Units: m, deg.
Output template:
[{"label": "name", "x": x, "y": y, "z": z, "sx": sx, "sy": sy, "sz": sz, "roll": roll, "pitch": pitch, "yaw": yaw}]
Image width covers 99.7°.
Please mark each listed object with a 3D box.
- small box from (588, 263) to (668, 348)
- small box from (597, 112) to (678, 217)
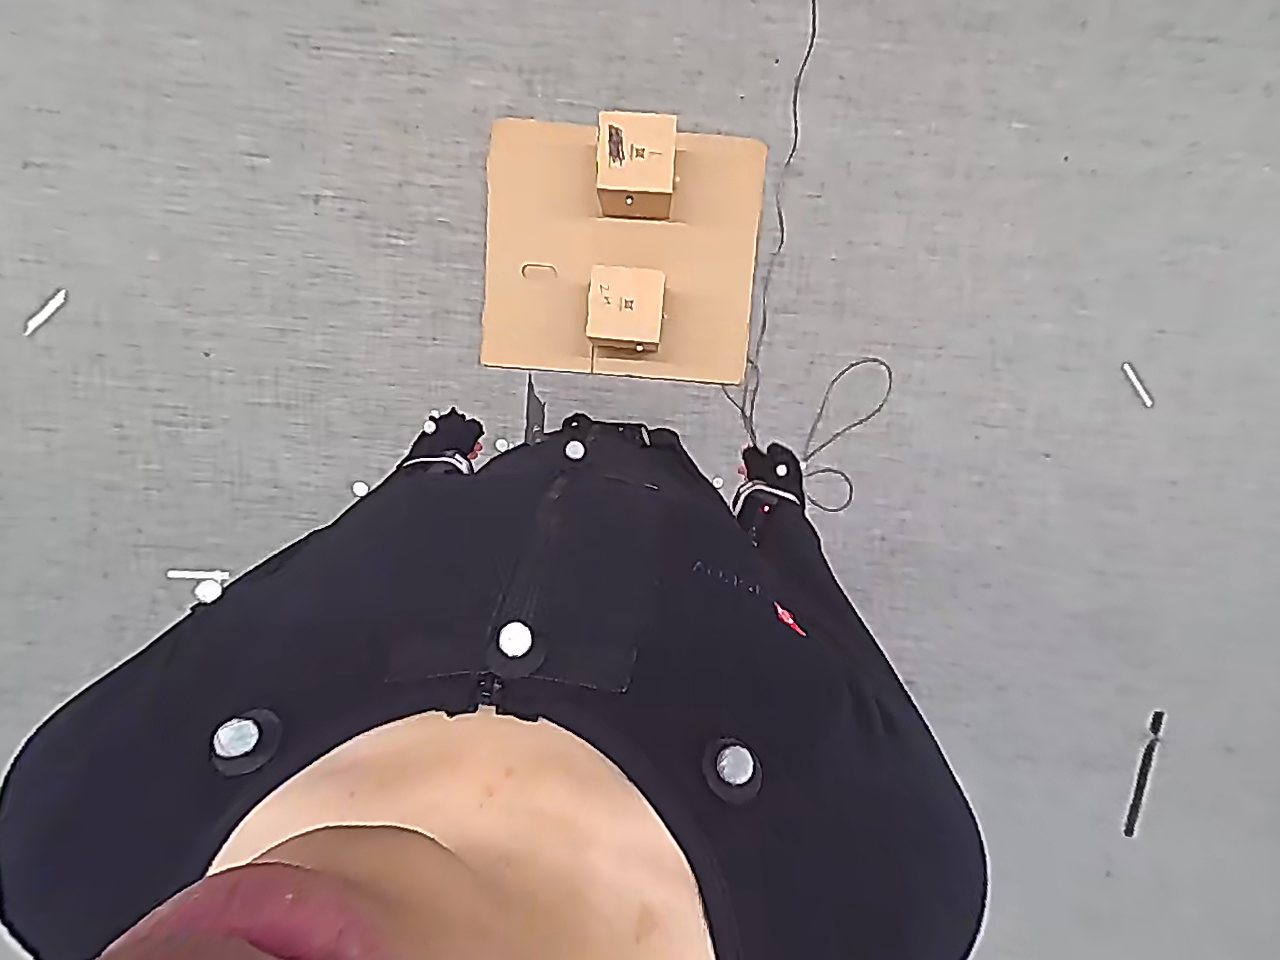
[{"label": "small box", "x": -0.027, "y": -0.423, "z": 1.338, "sx": 0.179, "sy": 0.176, "sz": 0.168, "roll": 6, "pitch": 97, "yaw": 2}, {"label": "small box", "x": -0.005, "y": -0.747, "z": 1.296, "sx": 0.179, "sy": 0.176, "sz": 0.168, "roll": 3, "pitch": 97, "yaw": 1}]
